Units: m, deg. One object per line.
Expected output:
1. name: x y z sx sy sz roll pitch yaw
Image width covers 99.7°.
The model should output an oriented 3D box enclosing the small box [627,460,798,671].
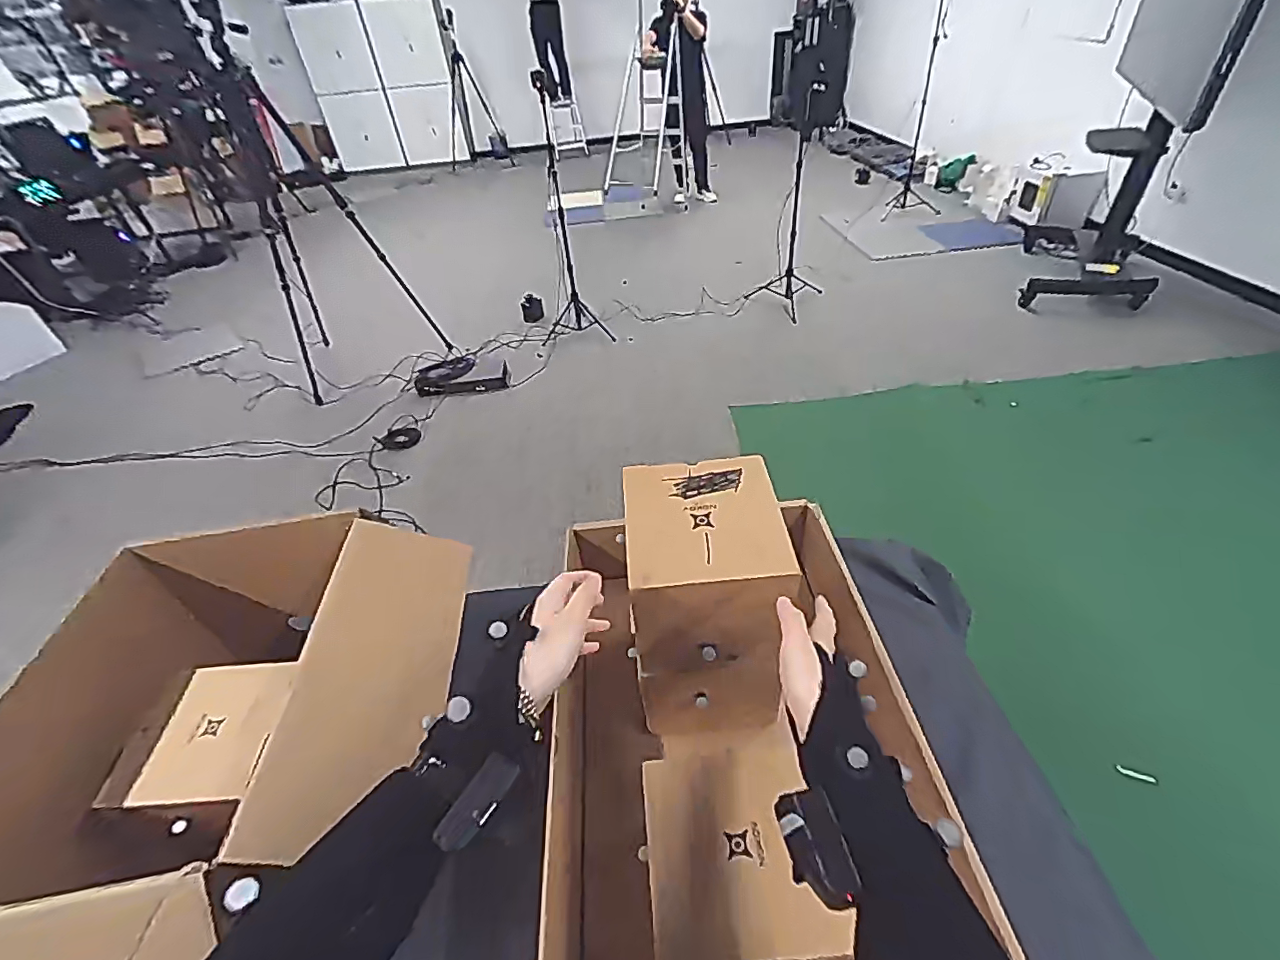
1. small box: 0.072 0.099 0.632 0.168 0.176 0.179 -5 44 1

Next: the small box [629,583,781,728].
1. small box: 0.084 0.222 0.741 0.179 0.176 0.168 -7 44 1
